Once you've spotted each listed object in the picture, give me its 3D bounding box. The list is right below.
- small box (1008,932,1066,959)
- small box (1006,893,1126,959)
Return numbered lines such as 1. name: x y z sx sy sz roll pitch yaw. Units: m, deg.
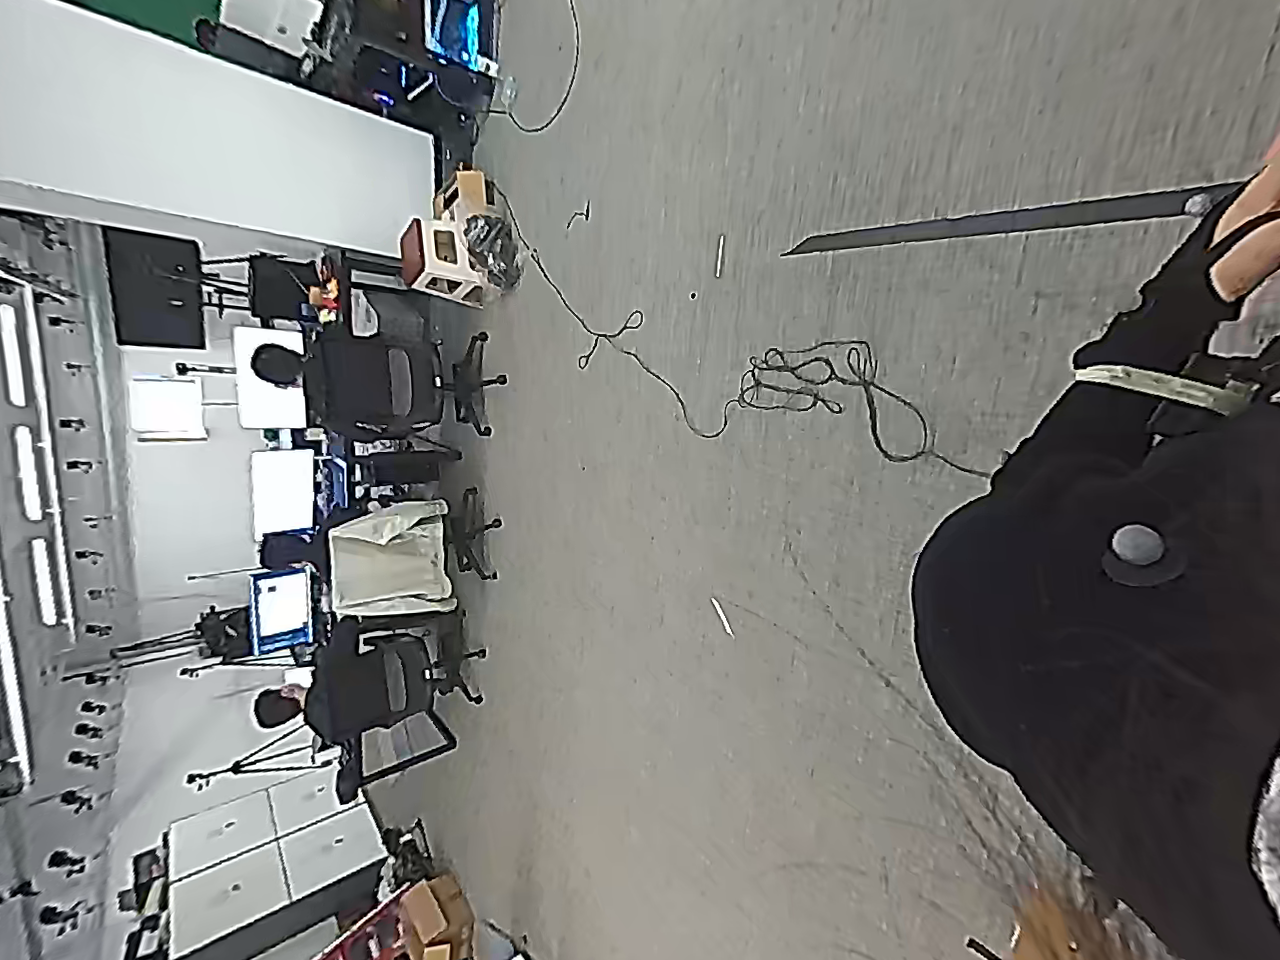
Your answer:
1. small box: 0.846 1.106 1.116 0.179 0.176 0.168 20 108 46
2. small box: 0.964 1.096 1.230 0.179 0.176 0.168 17 106 46
